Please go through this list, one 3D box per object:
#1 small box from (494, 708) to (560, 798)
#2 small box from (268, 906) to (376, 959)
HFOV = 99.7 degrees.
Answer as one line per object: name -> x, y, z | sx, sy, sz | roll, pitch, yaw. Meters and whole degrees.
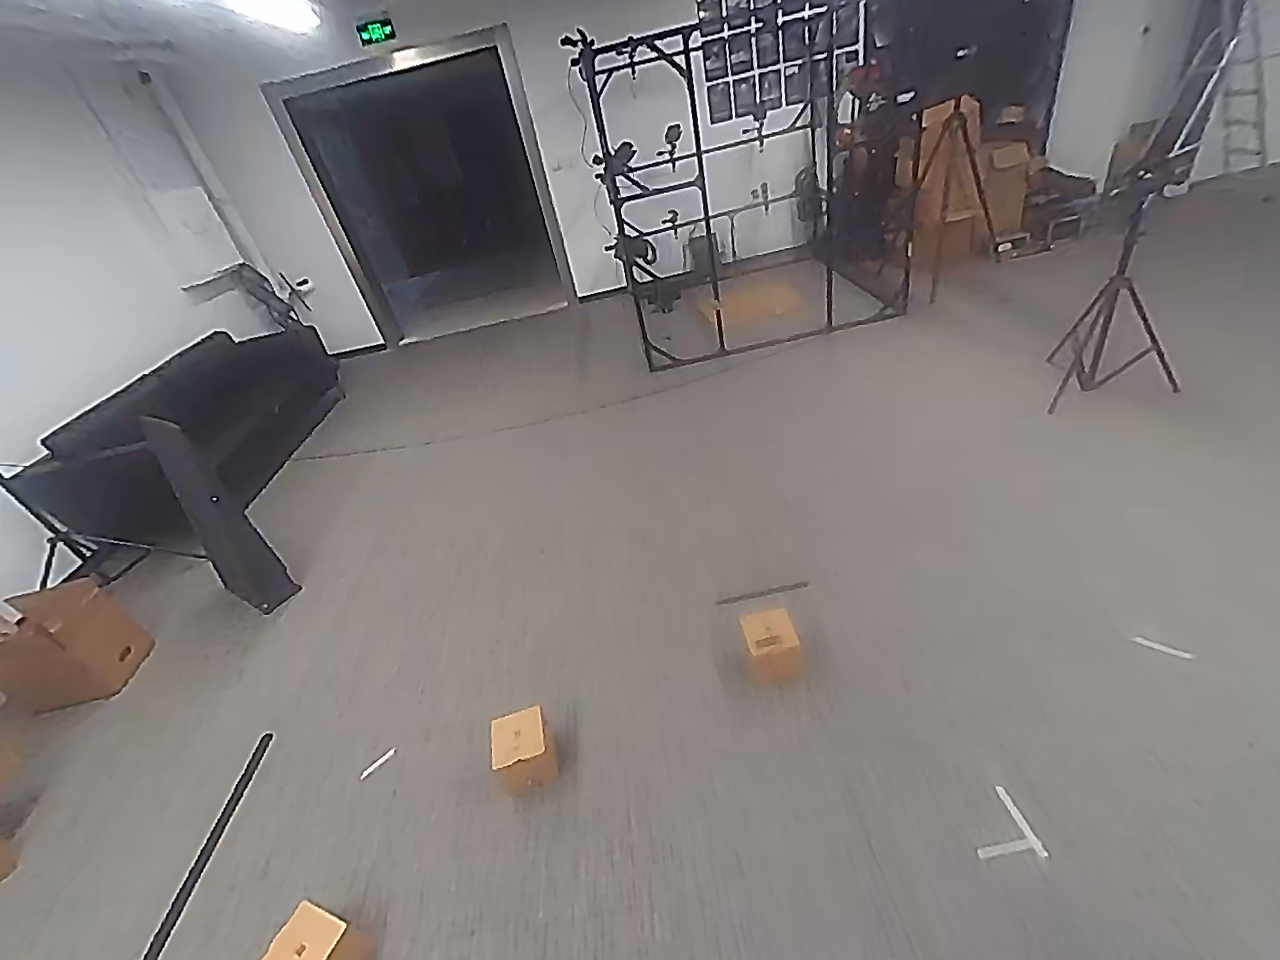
small box -> -0.365, 0.881, 1.746 | 0.168, 0.176, 0.179 | -17, 34, -6
small box -> -0.819, 1.242, 1.382 | 0.179, 0.176, 0.168 | 3, 37, 24
